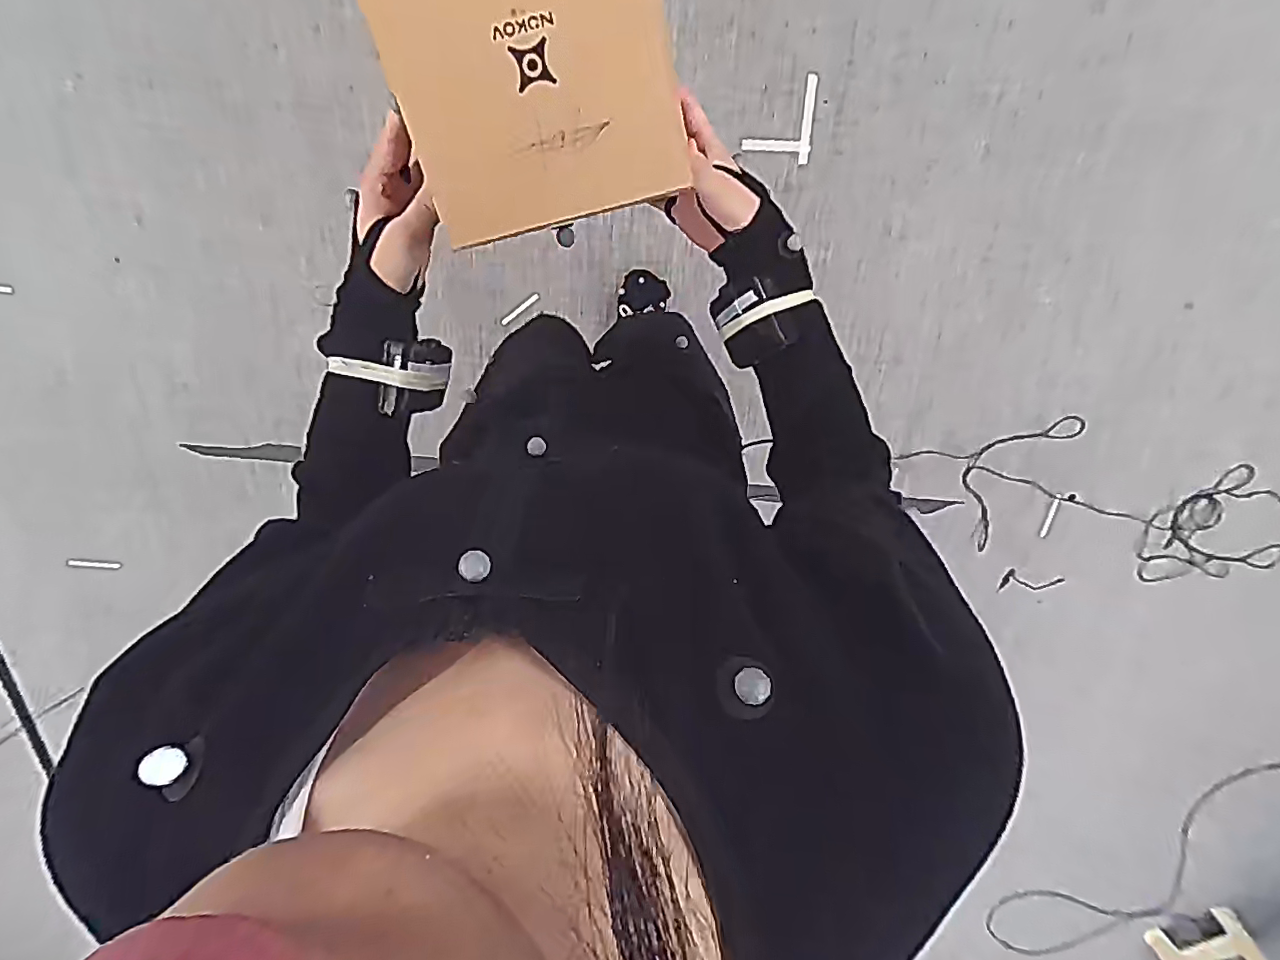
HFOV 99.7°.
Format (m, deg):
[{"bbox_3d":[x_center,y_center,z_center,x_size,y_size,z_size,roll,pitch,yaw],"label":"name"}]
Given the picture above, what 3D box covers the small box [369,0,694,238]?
[{"bbox_3d":[-0.070,-0.281,0.383,0.168,0.176,0.179,-14,116,1],"label":"small box"}]
